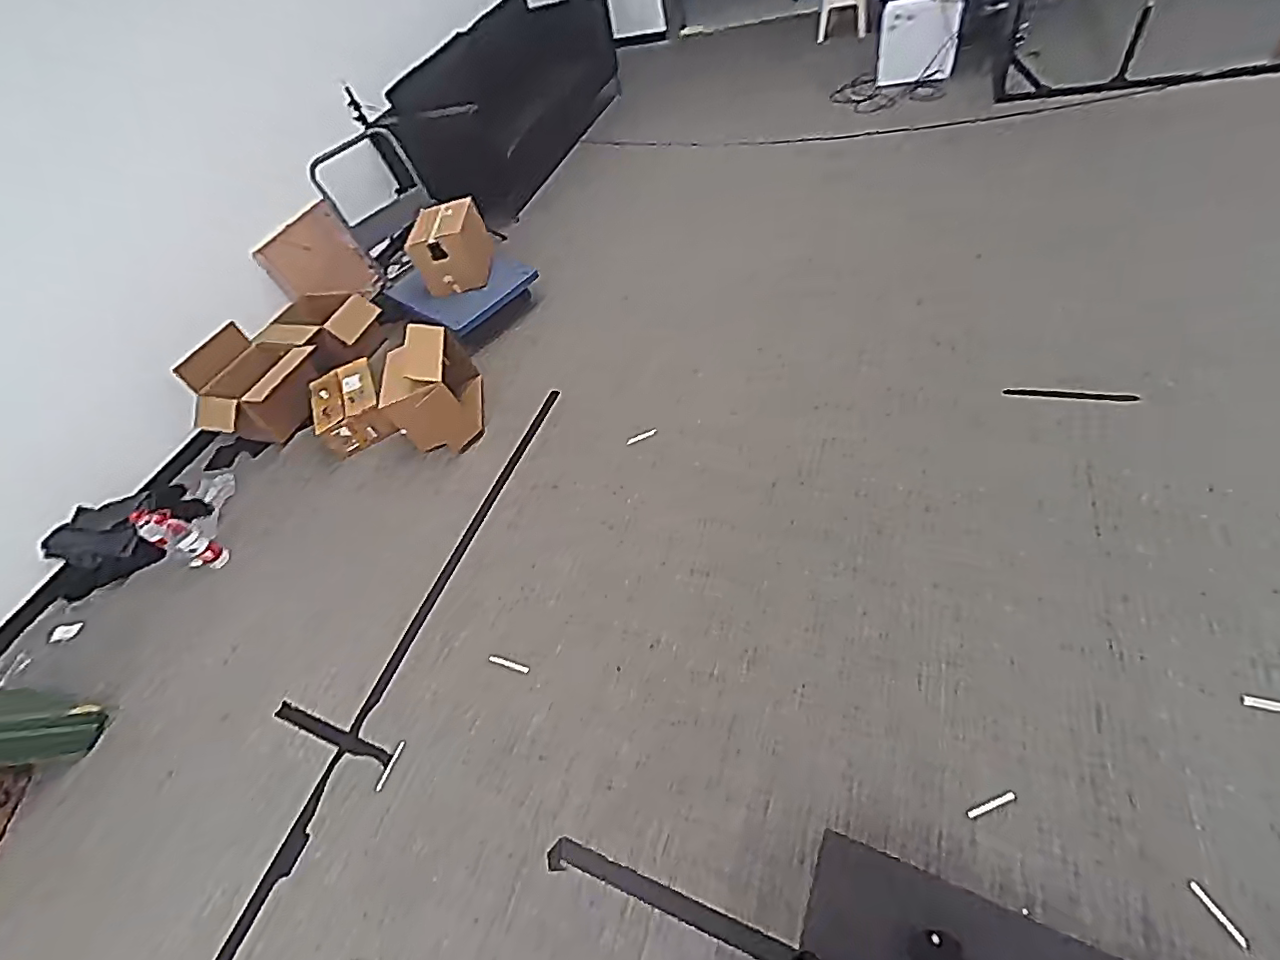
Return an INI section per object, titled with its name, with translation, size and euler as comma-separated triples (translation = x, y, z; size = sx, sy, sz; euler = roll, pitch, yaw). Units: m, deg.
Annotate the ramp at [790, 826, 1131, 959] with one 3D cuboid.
[ramp]
translation = 0.751, 1.072, 0.925
size = 0.991, 0.206, 0.509
euler = 10, 56, 22
